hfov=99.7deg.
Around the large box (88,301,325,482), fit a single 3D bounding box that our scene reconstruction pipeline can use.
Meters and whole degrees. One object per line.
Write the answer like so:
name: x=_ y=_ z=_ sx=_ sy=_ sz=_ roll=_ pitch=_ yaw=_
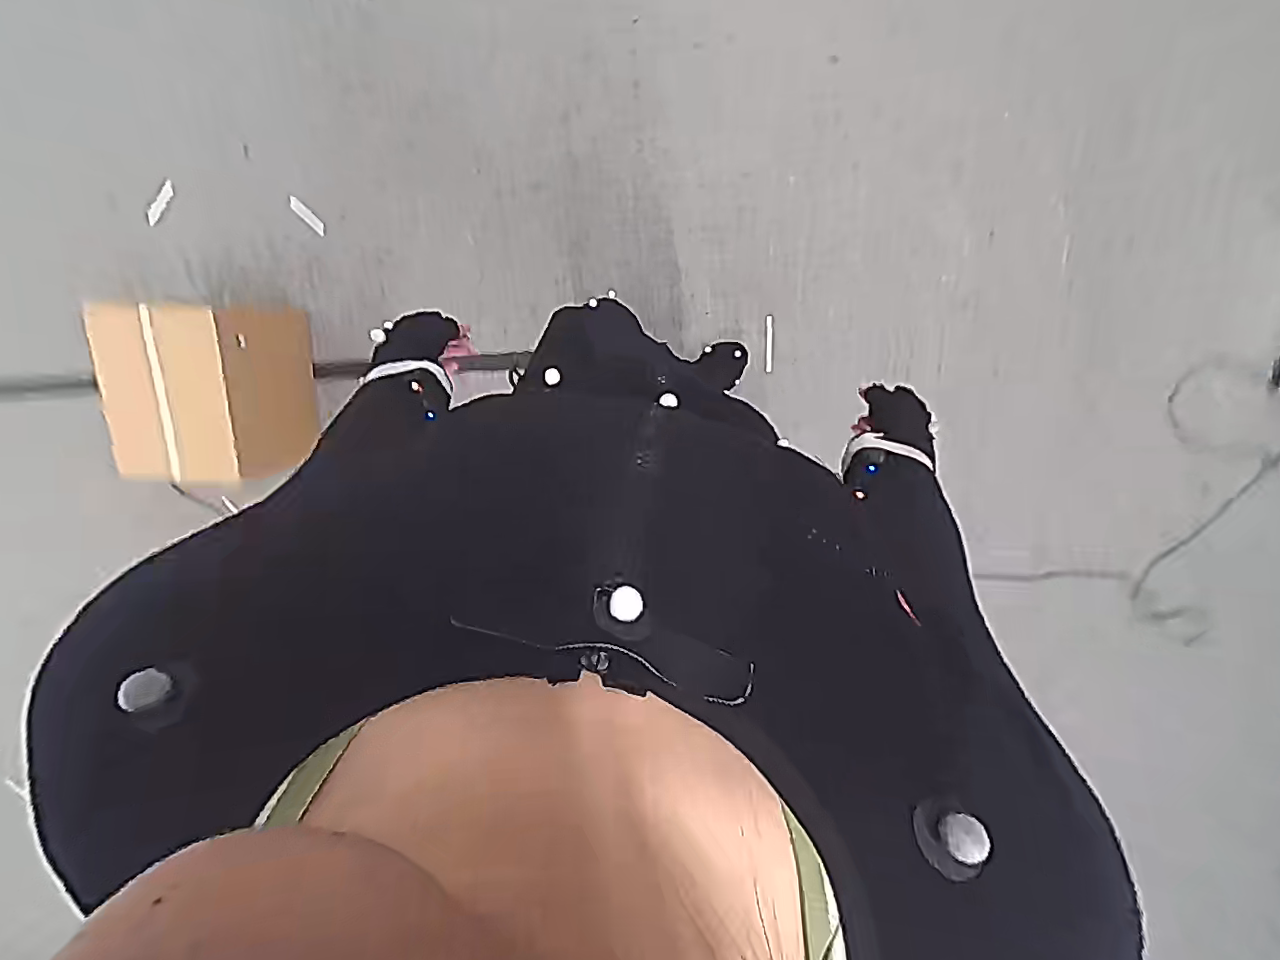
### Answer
large box: x=-1.061 y=-0.239 z=1.376 sx=0.320 sy=0.320 sz=0.408 roll=5 pitch=107 yaw=4
